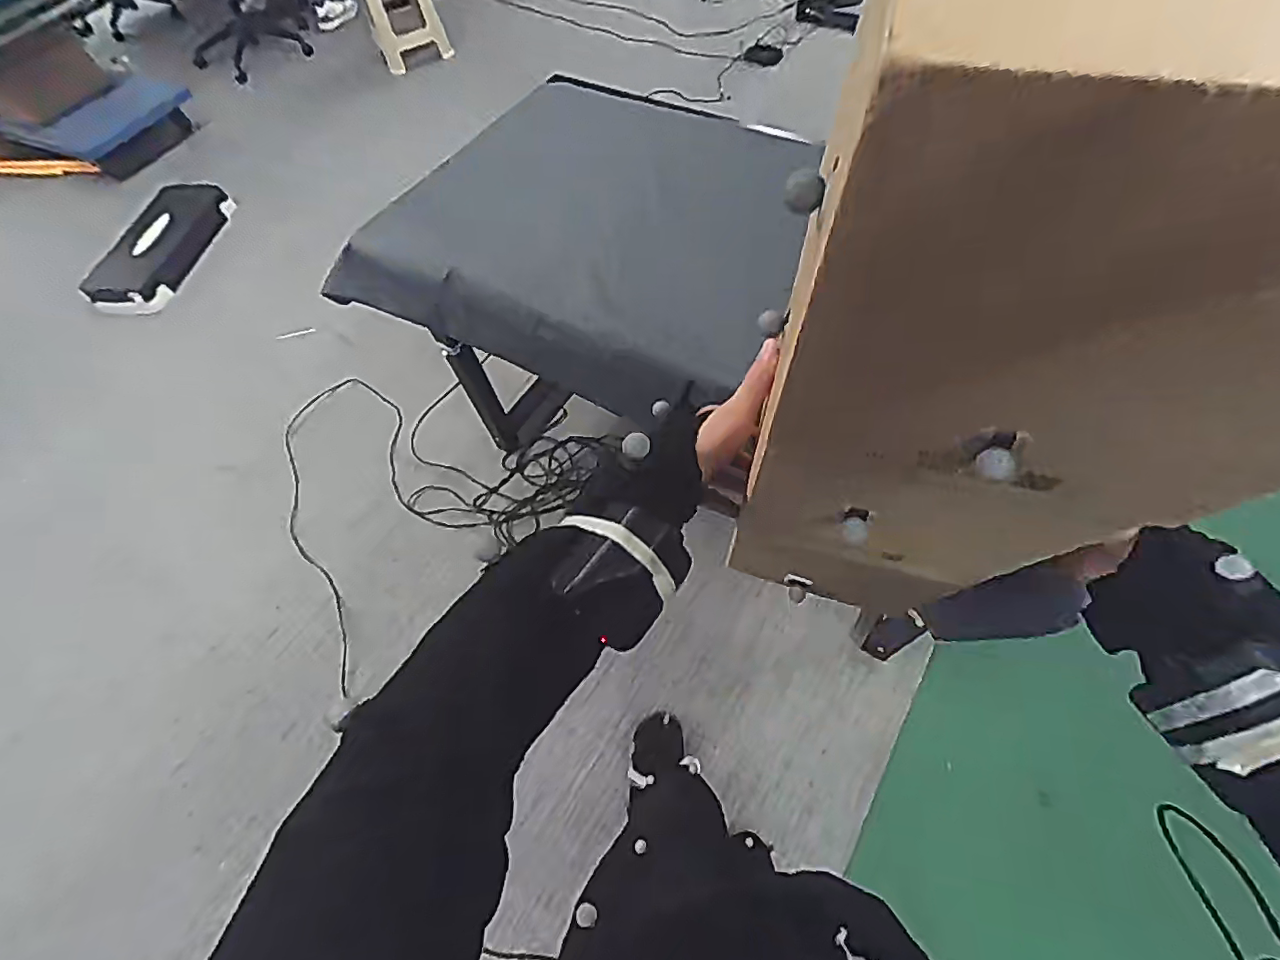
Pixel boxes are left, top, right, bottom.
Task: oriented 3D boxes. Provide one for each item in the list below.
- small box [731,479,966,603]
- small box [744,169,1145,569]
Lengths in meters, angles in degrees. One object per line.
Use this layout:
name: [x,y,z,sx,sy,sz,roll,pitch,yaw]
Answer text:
small box: [0.184,-0.001,0.497,0.168,0.176,0.179,15,72,11]
small box: [0.166,-0.055,0.345,0.168,0.176,0.179,13,71,10]
